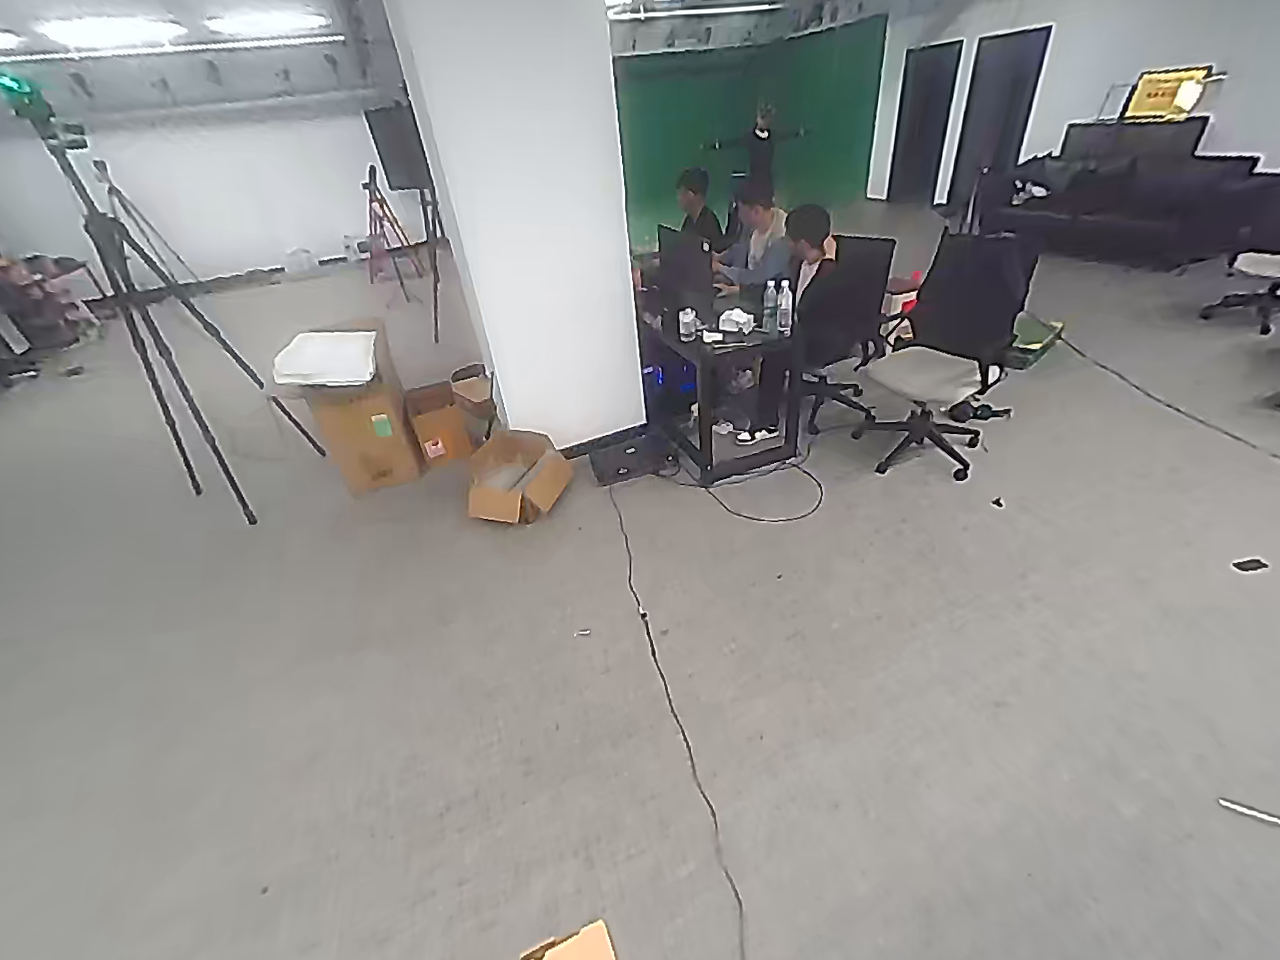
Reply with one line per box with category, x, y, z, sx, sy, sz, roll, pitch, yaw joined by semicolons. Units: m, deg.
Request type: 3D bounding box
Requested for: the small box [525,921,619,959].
small box;-0.081;0.669;0.627;0.168;0.176;0.179;-17;42;-15
